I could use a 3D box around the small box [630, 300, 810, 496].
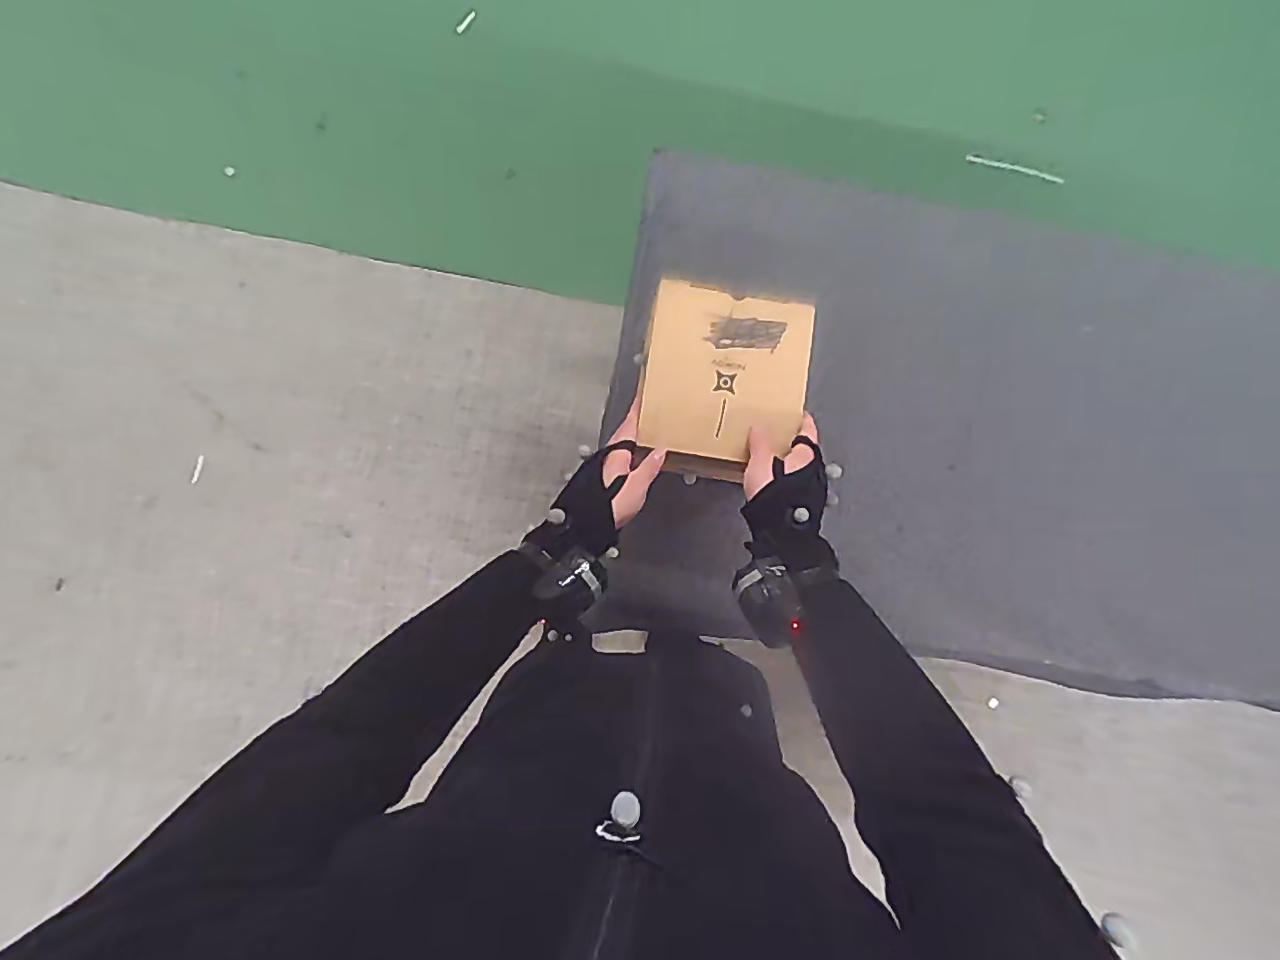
[{"bbox_3d":[0.082,-0.082,0.634,0.168,0.176,0.179,9,84,-3],"label":"small box"}]
